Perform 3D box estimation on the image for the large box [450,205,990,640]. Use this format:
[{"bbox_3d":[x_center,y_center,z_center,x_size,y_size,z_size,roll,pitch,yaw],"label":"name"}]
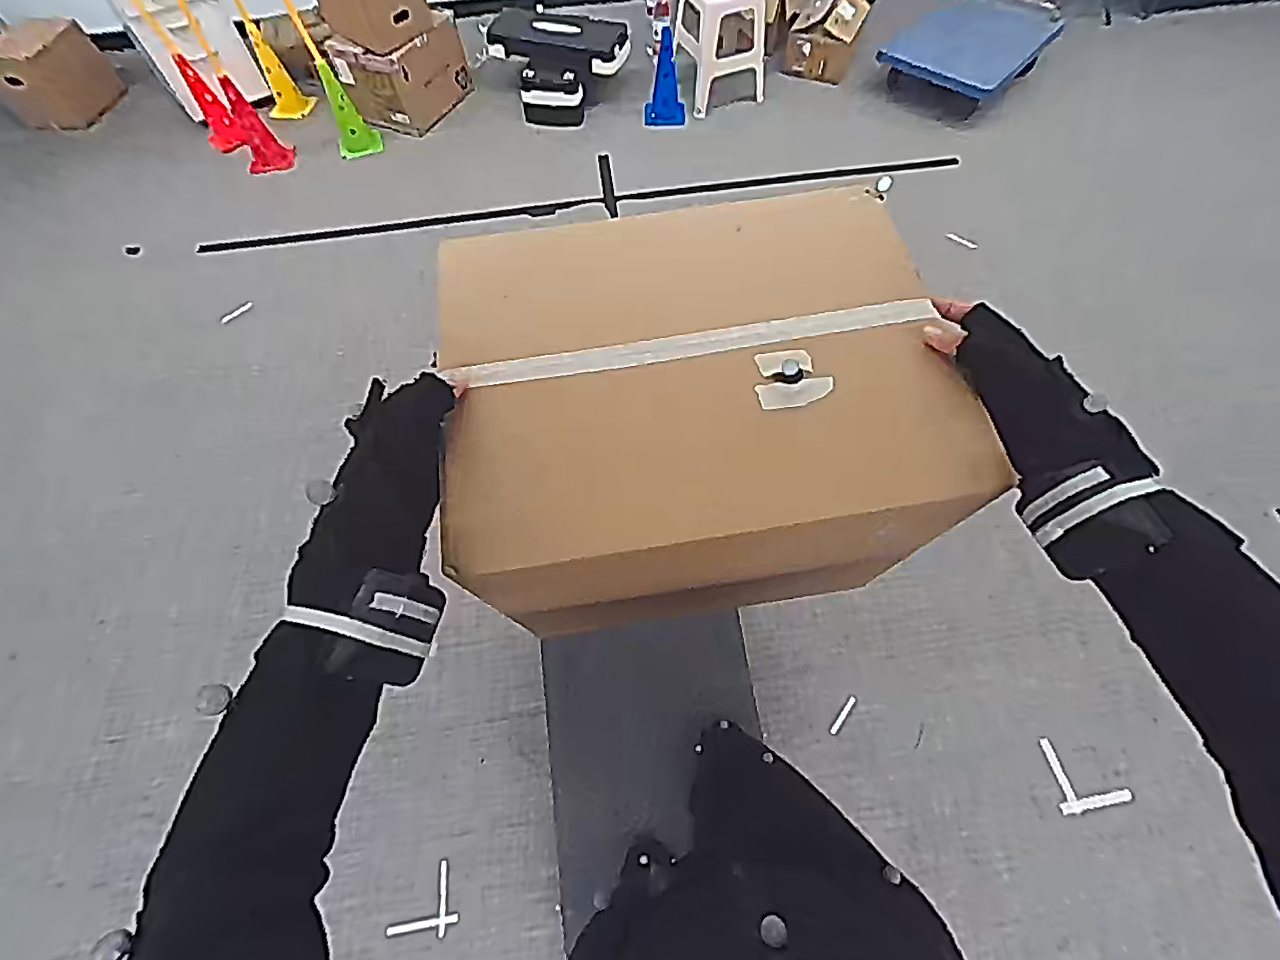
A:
[{"bbox_3d":[0.045,-0.036,0.588,0.408,0.320,0.320,-9,66,-2],"label":"large box"}]
